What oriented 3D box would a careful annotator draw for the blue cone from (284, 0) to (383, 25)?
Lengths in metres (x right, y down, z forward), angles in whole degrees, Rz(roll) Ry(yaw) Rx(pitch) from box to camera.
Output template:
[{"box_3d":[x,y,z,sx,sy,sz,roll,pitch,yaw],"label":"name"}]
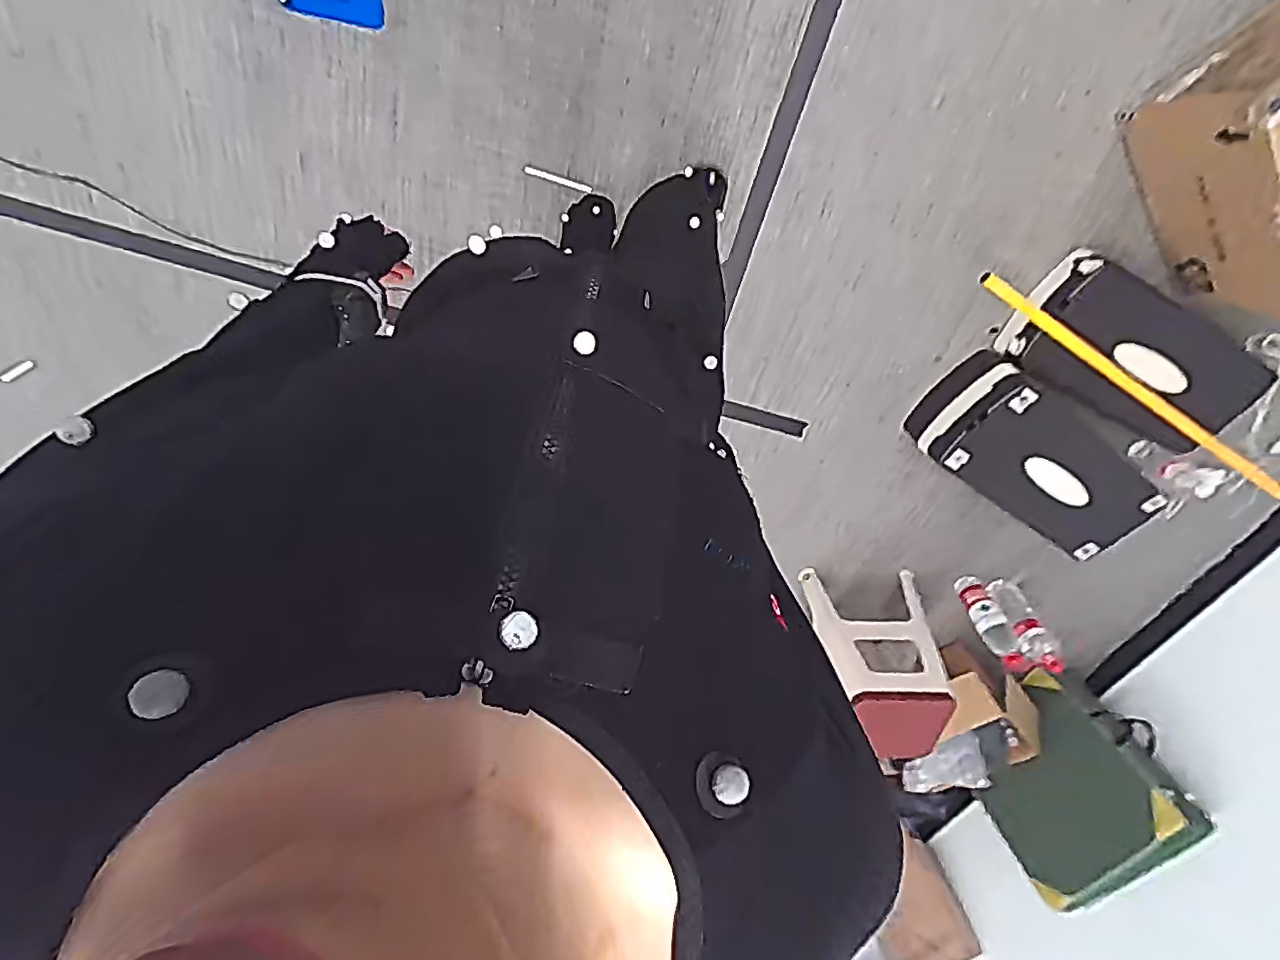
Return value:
[{"box_3d":[-0.573,-0.877,0.851,0.193,0.380,0.192,9,123,-6],"label":"blue cone"}]
